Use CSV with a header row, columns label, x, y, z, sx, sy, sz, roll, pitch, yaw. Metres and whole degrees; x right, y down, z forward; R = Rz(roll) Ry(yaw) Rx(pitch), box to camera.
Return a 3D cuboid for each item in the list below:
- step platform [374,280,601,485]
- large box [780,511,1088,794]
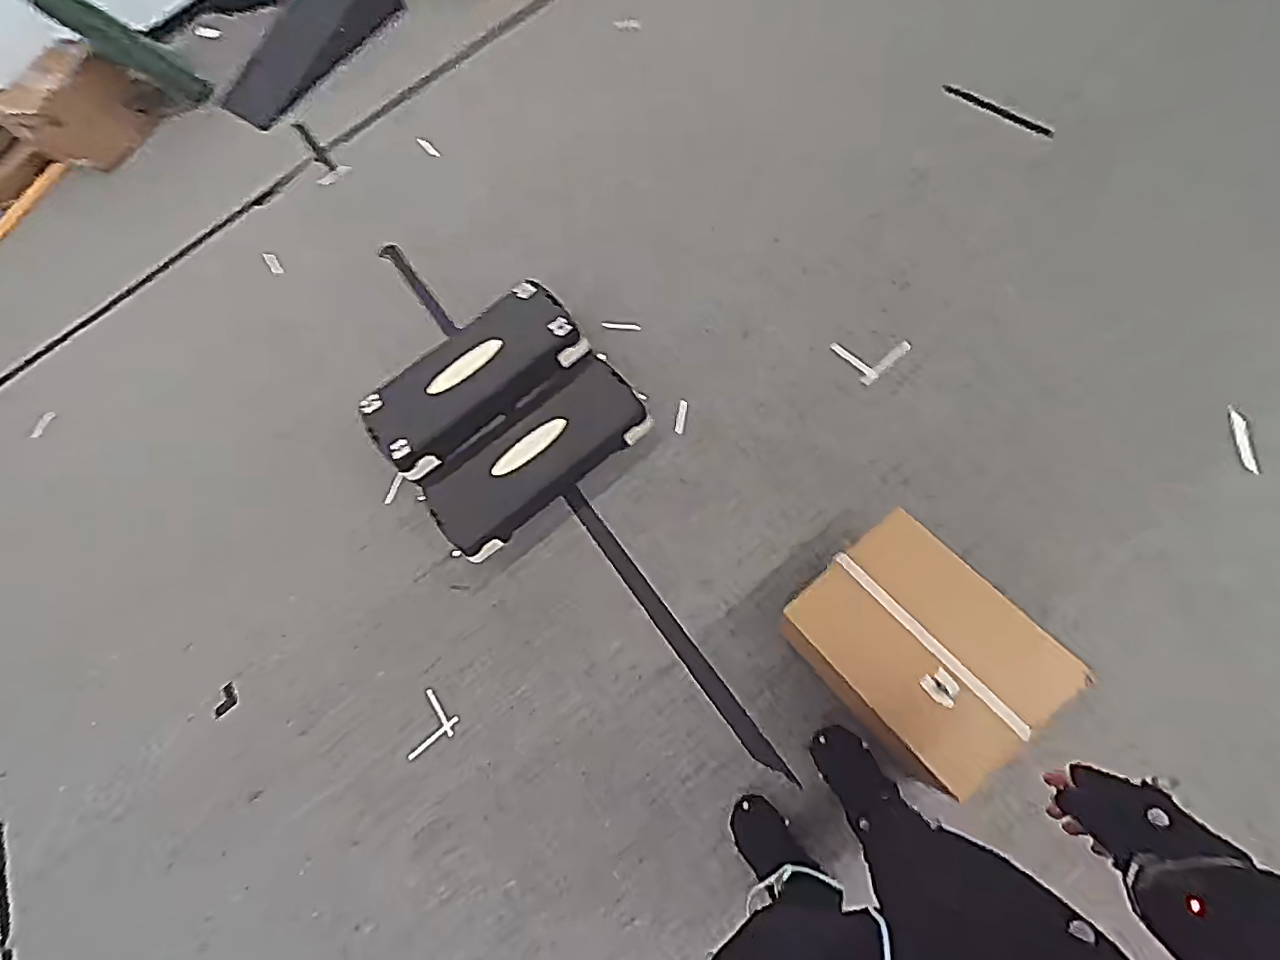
label,x,y,z,sx,sy,sz,roll,pitch,yaw
step platform,-0.461,-0.301,1.655,0.684,0.204,0.286,-40,66,-6
large box,0.543,0.337,1.104,0.320,0.320,0.408,-41,66,-4
